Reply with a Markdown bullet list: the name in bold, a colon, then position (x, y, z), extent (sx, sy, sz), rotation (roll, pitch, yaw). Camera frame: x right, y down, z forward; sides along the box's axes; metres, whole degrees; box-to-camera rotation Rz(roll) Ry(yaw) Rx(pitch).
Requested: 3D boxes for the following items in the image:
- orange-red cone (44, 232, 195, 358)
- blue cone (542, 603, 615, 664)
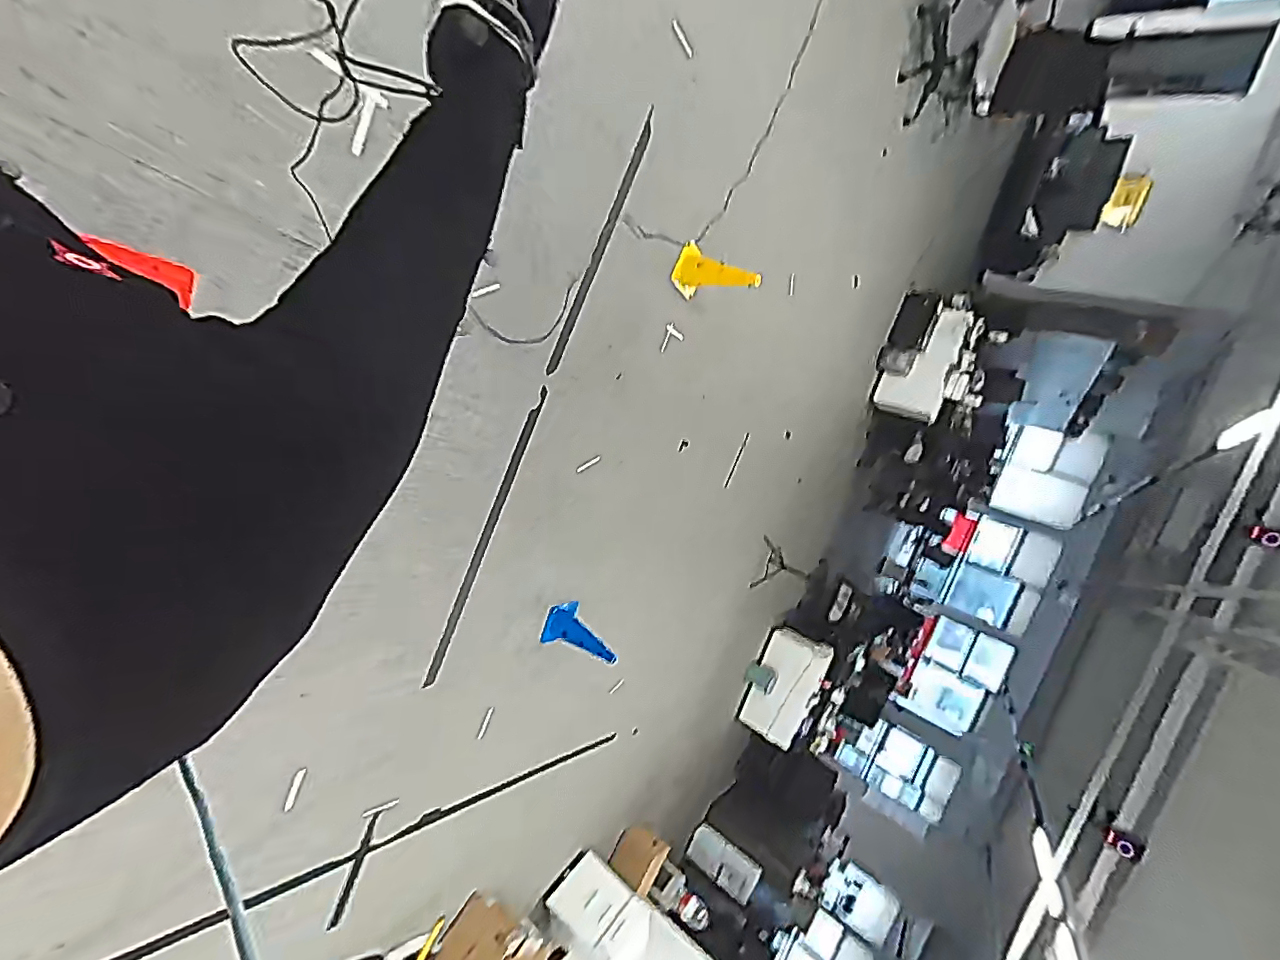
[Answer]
- **orange-red cone**: position (-0.881, -0.291, 0.964), extent (0.198, 0.360, 0.199), rotation (9, 104, -56)
- **blue cone**: position (-0.259, 0.738, 2.509), extent (0.192, 0.380, 0.193), rotation (7, 104, -56)
